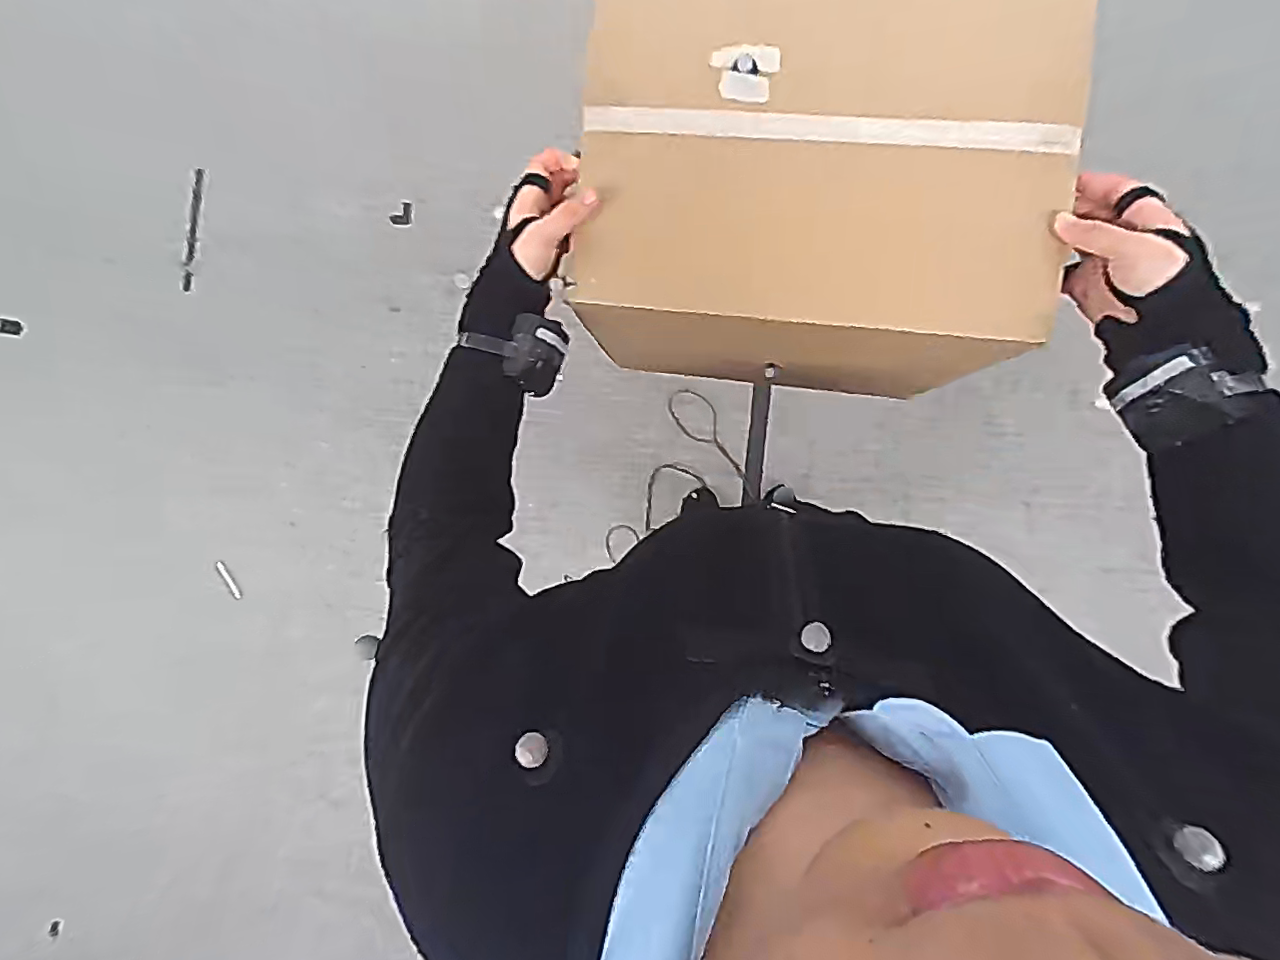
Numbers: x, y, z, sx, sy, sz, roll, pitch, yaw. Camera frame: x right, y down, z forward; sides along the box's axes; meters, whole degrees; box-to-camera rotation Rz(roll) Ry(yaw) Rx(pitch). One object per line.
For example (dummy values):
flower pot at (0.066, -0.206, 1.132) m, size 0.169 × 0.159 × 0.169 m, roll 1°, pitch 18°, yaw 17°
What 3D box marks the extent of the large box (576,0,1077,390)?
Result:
large box at (0.172, -0.289, 0.617) m, size 0.408 × 0.320 × 0.320 m, roll 6°, pitch 89°, yaw 7°
